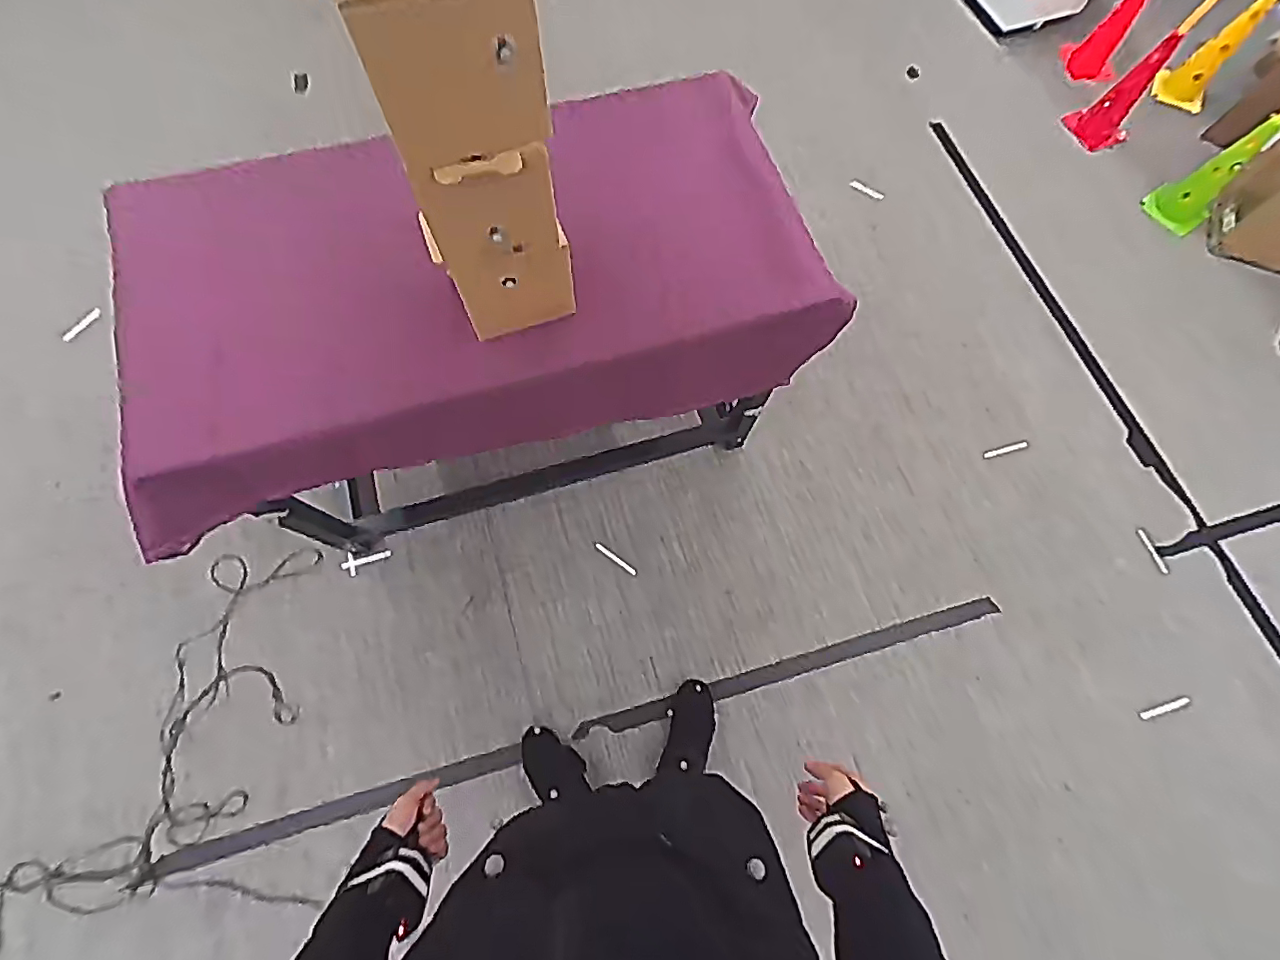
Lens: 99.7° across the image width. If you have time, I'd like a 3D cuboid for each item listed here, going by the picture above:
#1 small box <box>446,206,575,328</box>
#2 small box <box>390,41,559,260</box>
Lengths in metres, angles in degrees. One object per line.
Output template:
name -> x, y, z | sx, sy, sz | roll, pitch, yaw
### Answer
small box -> -0.215, -0.373, 0.874 | 0.179, 0.176, 0.168 | -19, 73, -9
small box -> -0.211, -0.429, 0.720 | 0.168, 0.176, 0.179 | -14, 72, -6
